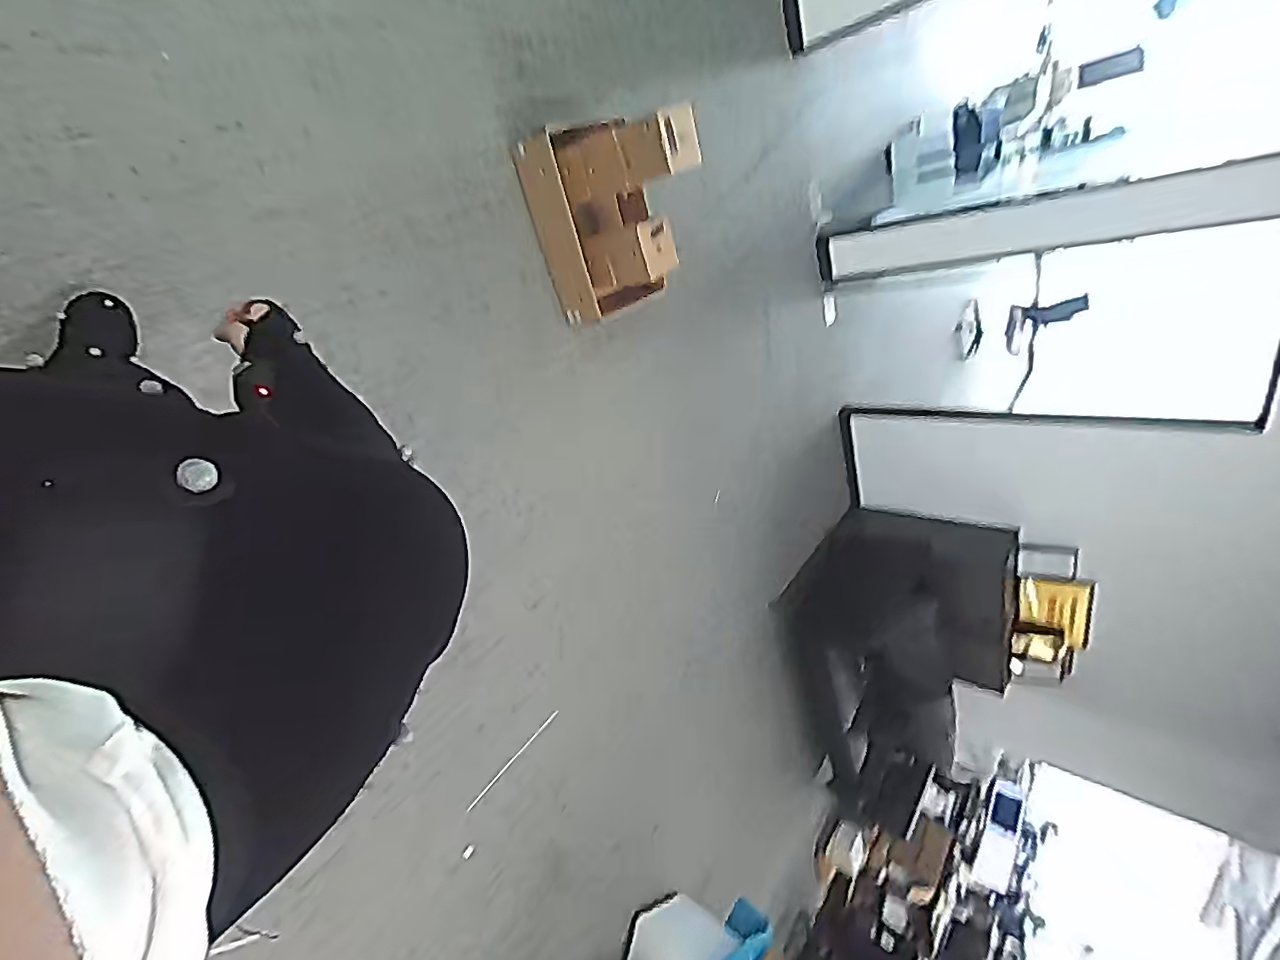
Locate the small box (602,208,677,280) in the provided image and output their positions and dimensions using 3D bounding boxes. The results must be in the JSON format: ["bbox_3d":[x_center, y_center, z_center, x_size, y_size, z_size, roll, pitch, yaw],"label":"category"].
[{"bbox_3d":[-0.004,-0.809,1.862,0.168,0.176,0.179,-41,125,-34],"label":"small box"}]

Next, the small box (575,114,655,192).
[{"bbox_3d":[-0.081,-1.043,1.737,0.168,0.176,0.179,-41,126,-36],"label":"small box"}]

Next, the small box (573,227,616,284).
[{"bbox_3d":[-0.124,-0.829,1.975,0.179,0.176,0.168,-37,123,-37],"label":"small box"}]

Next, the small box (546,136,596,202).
[{"bbox_3d":[-0.200,-1.068,1.847,0.179,0.176,0.168,-39,125,-37],"label":"small box"}]
